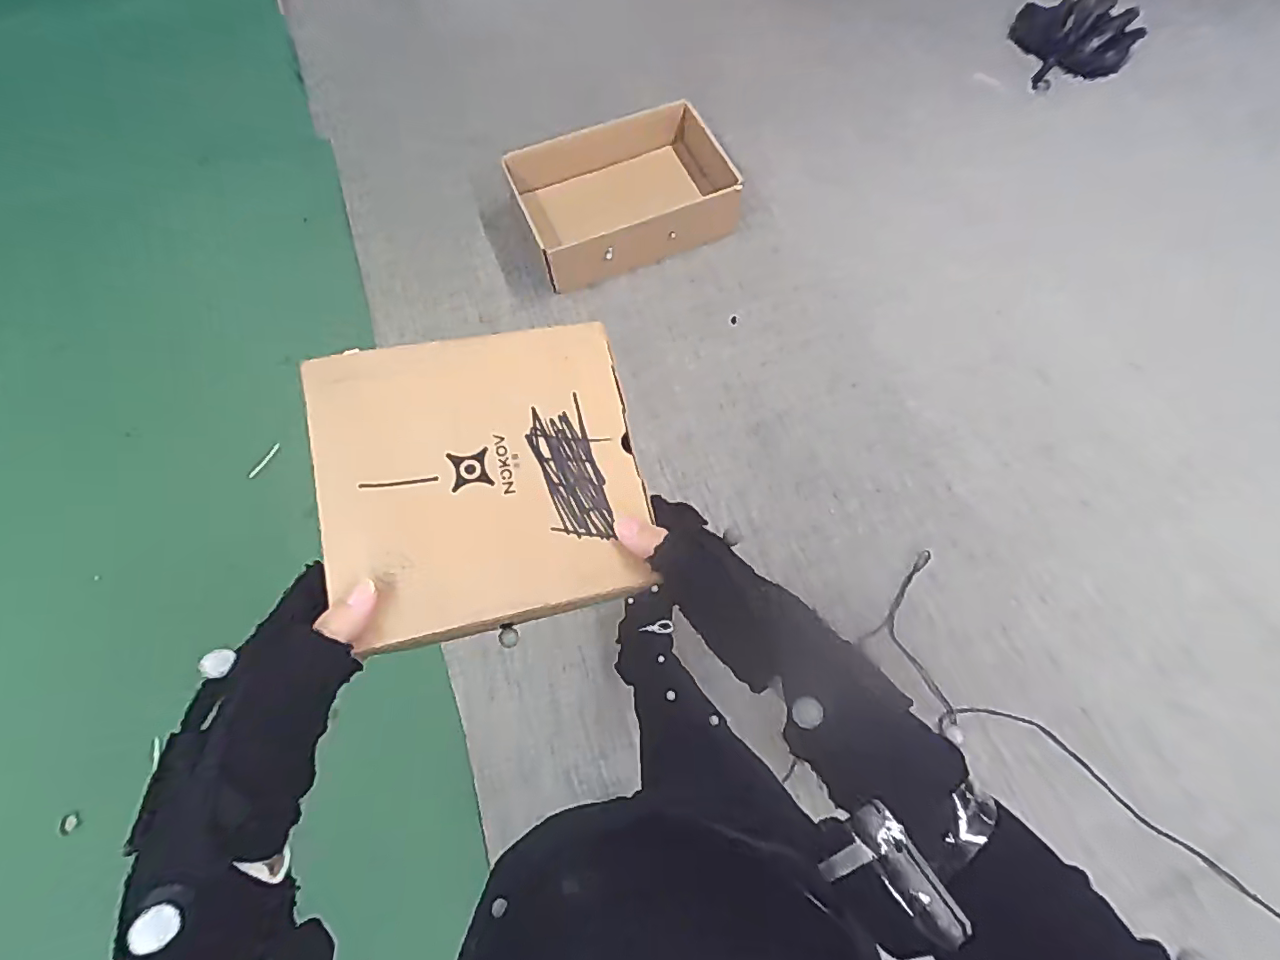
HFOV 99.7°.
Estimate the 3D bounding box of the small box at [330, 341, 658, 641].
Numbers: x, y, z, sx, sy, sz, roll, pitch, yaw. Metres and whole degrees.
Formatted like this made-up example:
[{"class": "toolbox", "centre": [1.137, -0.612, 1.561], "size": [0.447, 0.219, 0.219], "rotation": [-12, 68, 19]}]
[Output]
[{"class": "small box", "centre": [-0.103, 0.017, 0.403], "size": [0.179, 0.176, 0.168], "rotation": [-10, 76, -13]}]
